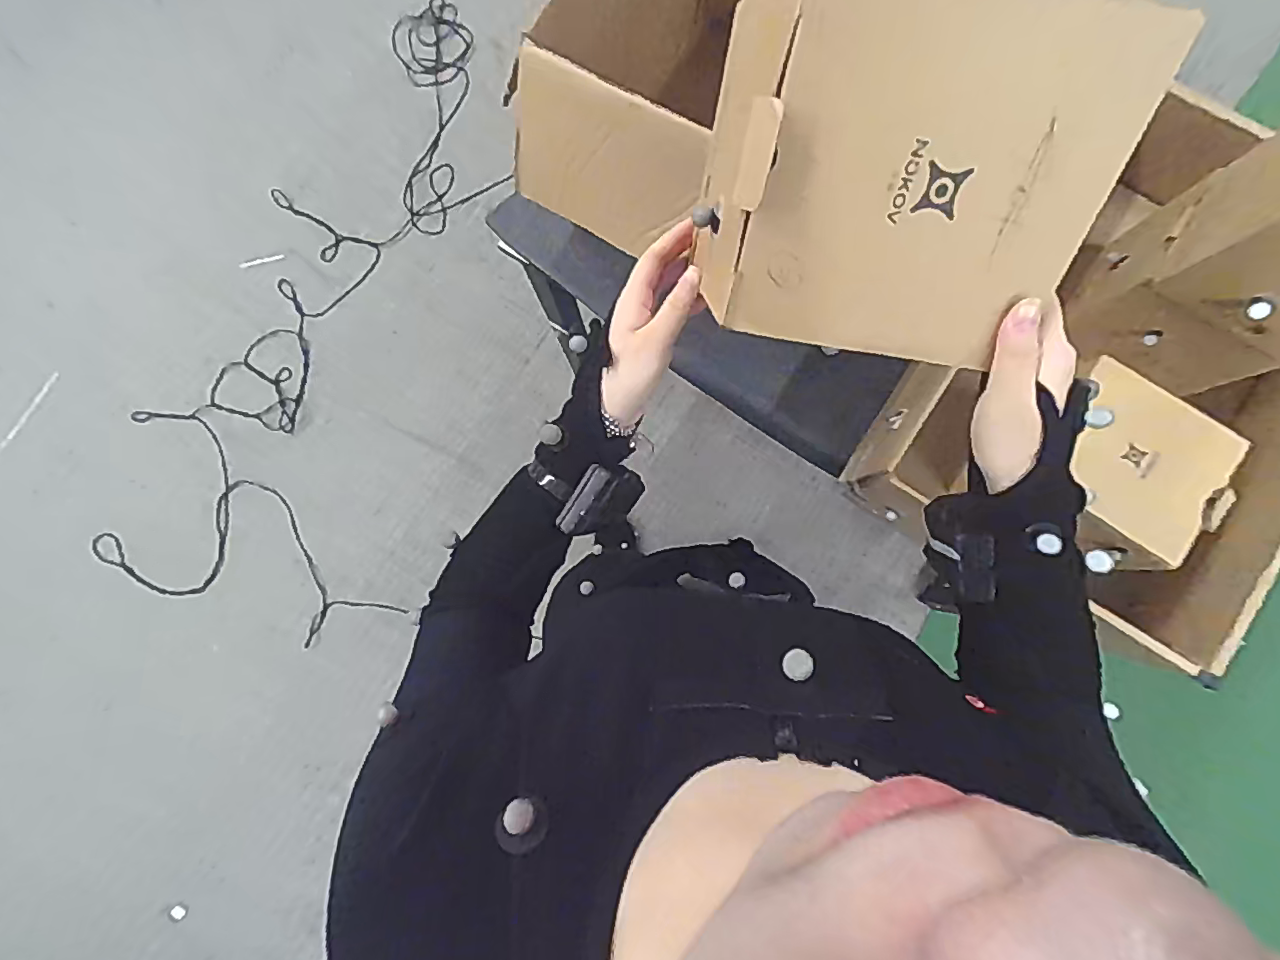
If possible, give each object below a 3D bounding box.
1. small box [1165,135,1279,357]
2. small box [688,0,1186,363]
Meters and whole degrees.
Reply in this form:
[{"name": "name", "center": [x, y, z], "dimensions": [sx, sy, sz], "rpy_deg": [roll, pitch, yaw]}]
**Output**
[{"name": "small box", "center": [0.673, -0.249, 0.510], "dimensions": [0.168, 0.176, 0.179], "rpy_deg": [35, 87, 6]}, {"name": "small box", "center": [0.133, -0.189, 0.329], "dimensions": [0.179, 0.176, 0.168], "rpy_deg": [6, 123, -7]}]
